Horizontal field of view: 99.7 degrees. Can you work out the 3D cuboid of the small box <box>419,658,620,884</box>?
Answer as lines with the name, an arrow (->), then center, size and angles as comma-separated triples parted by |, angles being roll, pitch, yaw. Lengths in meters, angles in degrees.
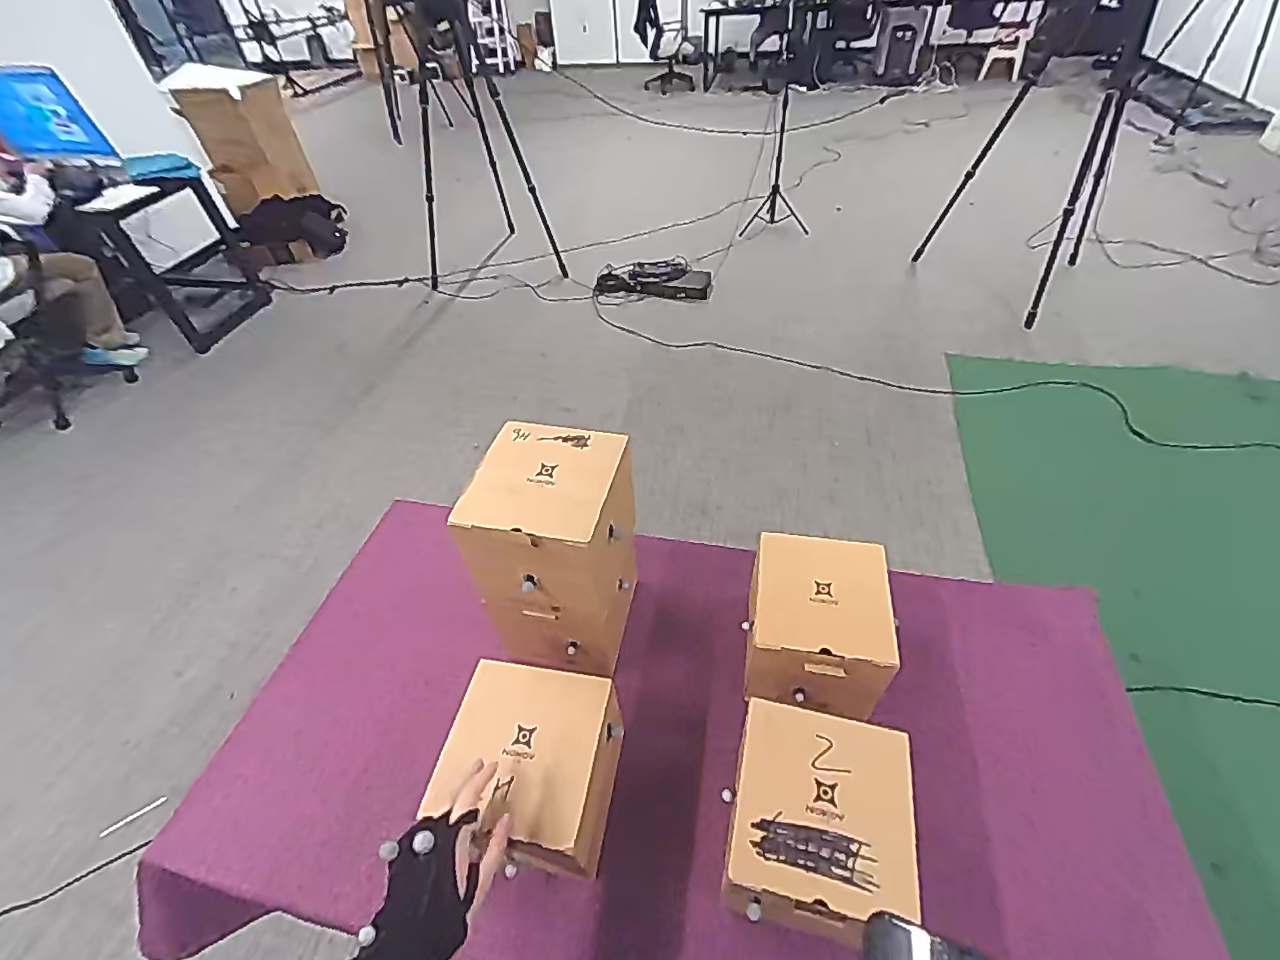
small box -> -0.123, 0.340, 0.637 | 0.168, 0.176, 0.179 | 5, 45, 11

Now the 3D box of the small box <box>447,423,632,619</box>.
small box -> -0.109, 0.053, 0.685 | 0.168, 0.176, 0.179 | 8, 48, 11

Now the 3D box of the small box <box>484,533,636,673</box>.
small box -> -0.104, 0.164, 0.807 | 0.168, 0.176, 0.179 | 8, 47, 11
